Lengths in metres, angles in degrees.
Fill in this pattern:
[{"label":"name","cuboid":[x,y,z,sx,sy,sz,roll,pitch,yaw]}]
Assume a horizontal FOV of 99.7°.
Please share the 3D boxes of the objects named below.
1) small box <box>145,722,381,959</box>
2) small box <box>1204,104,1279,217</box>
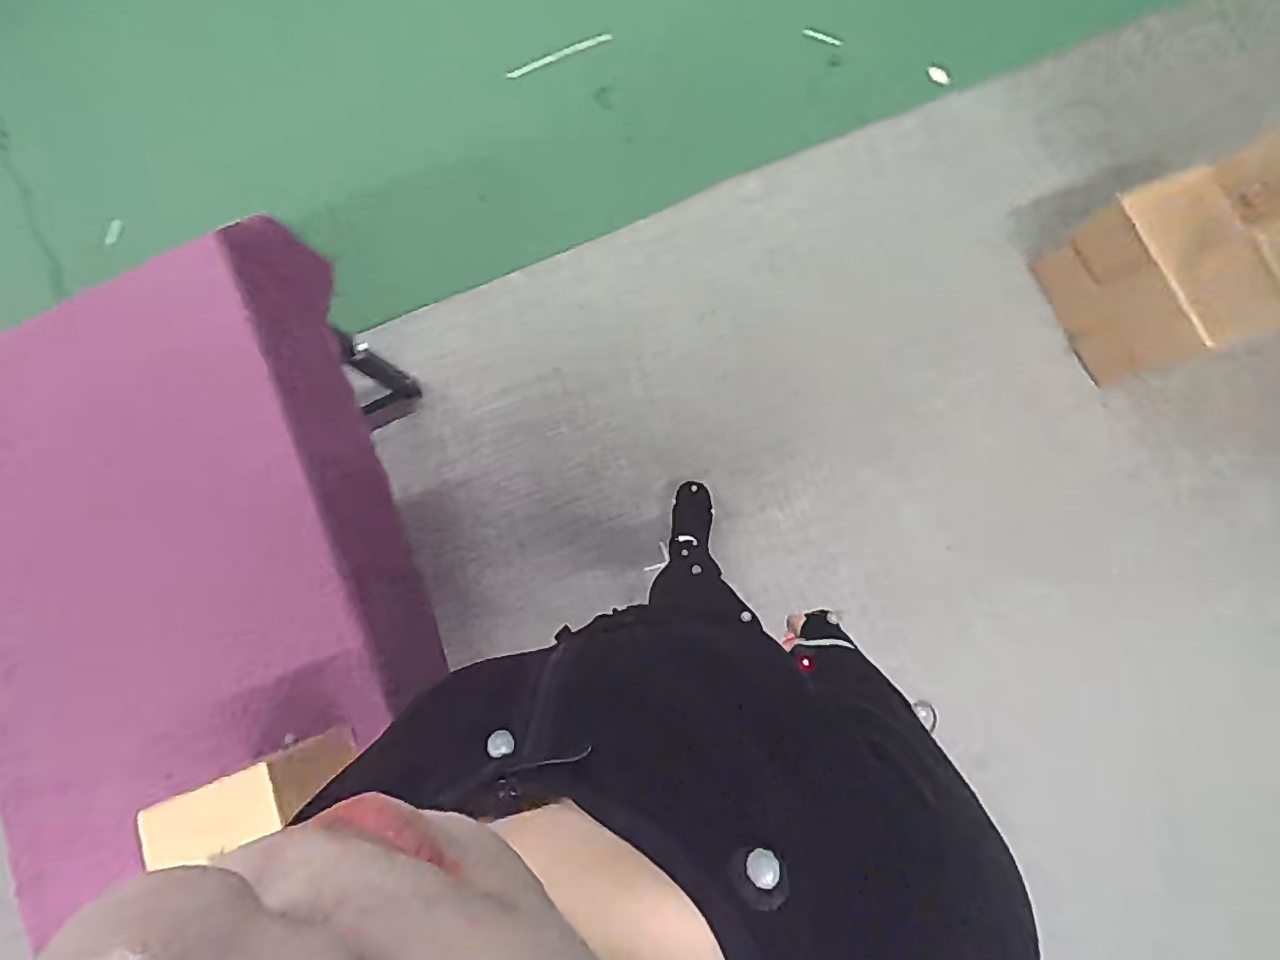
[{"label":"small box","cuboid":[-0.467,0.445,0.697,0.168,0.176,0.179,-22,81,0]},{"label":"small box","cuboid":[1.404,-0.708,1.163,0.179,0.176,0.168,-21,80,-3]}]
